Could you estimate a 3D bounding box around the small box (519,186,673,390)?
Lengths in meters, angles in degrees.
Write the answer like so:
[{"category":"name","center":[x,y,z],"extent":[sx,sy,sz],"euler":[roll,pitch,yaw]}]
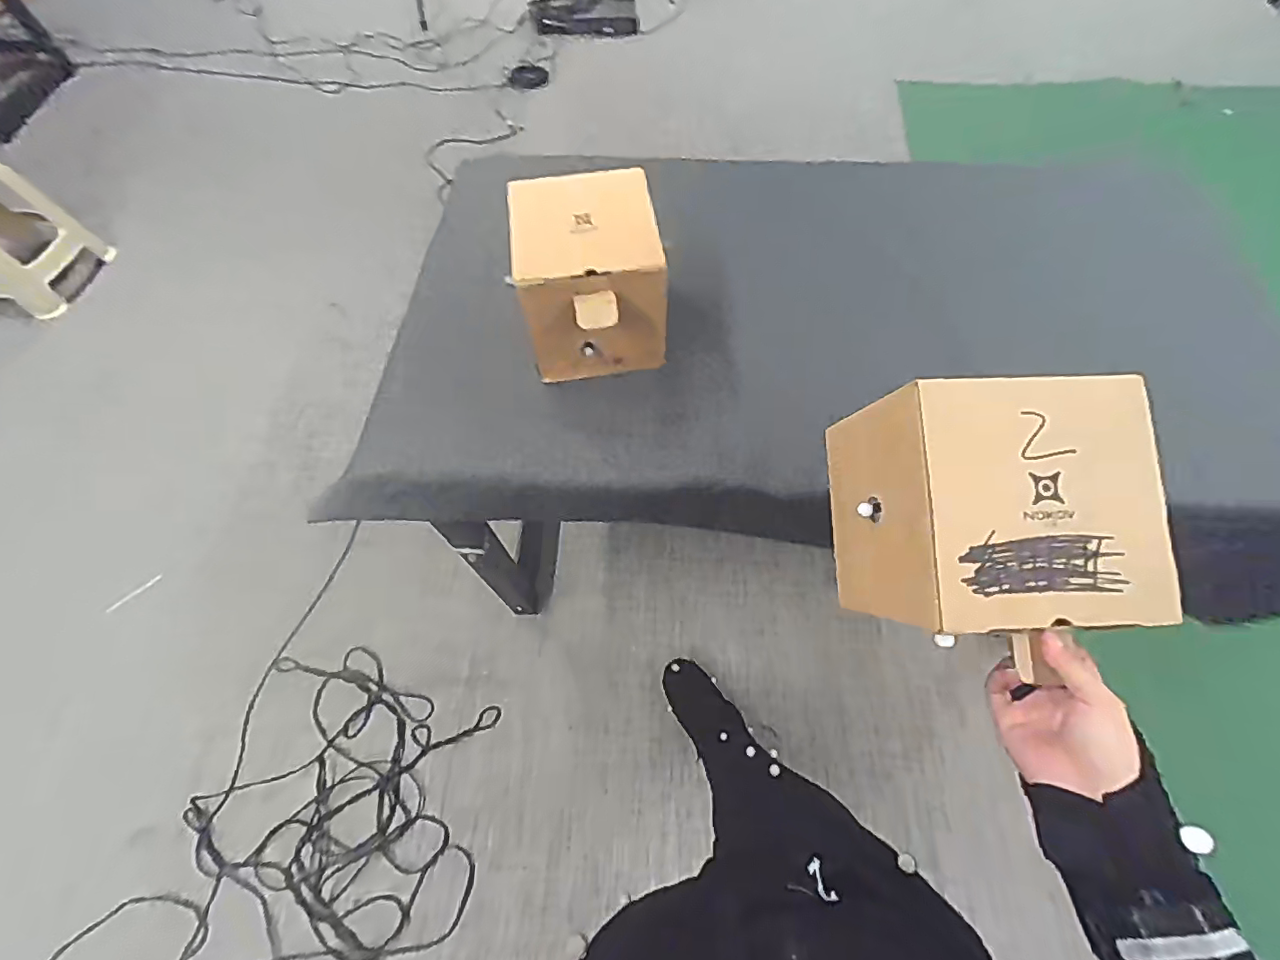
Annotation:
[{"category":"small box","center":[-0.056,-0.239,0.688],"extent":[0.168,0.176,0.179],"euler":[-8,61,-3]}]
